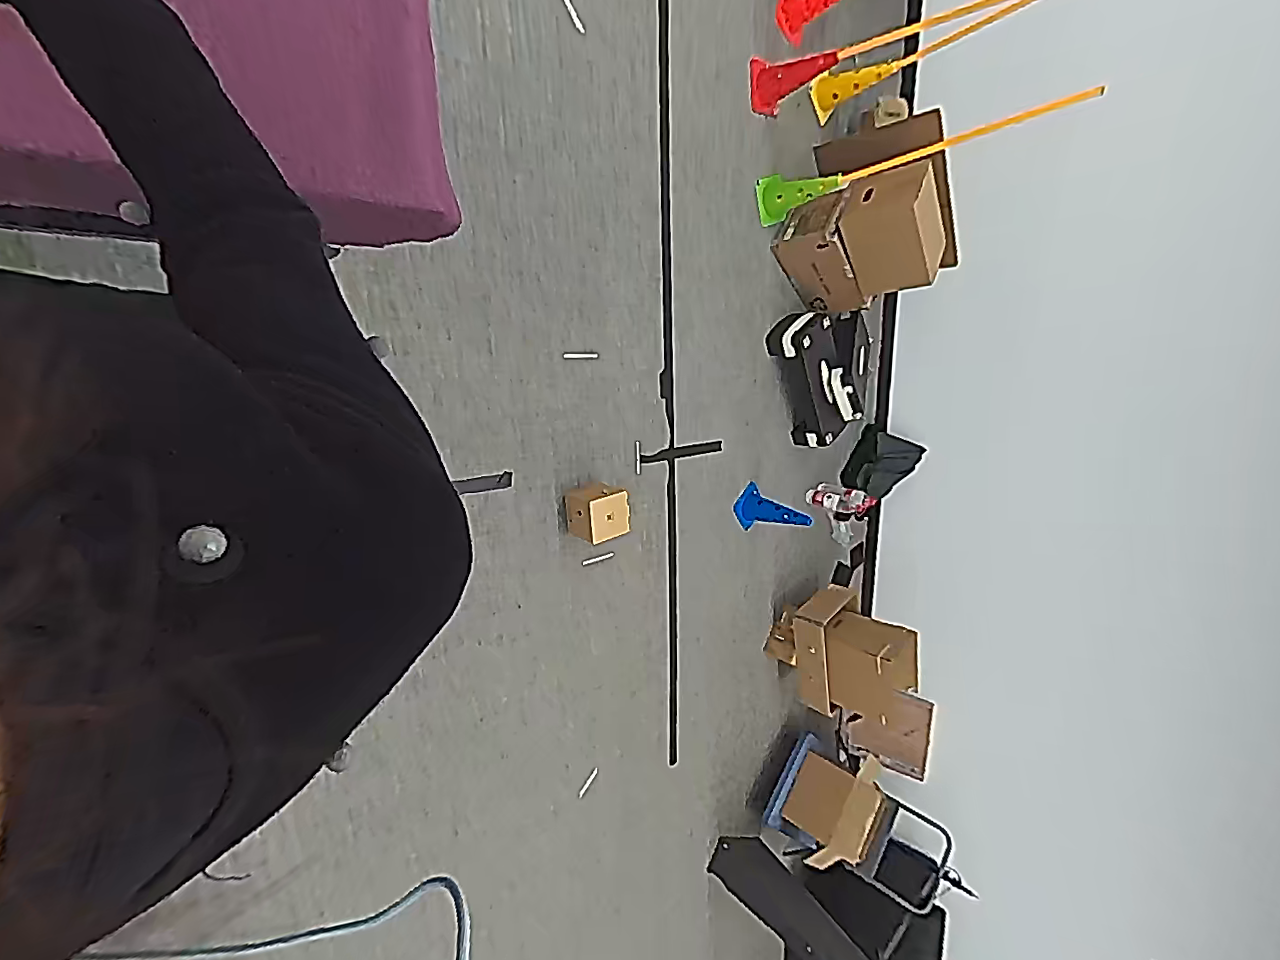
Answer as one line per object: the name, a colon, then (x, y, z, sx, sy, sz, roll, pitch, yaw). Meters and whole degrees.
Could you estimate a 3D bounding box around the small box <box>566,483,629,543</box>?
small box: (-0.163, 0.118, 2.023, 0.179, 0.176, 0.168, -17, 110, -39)
